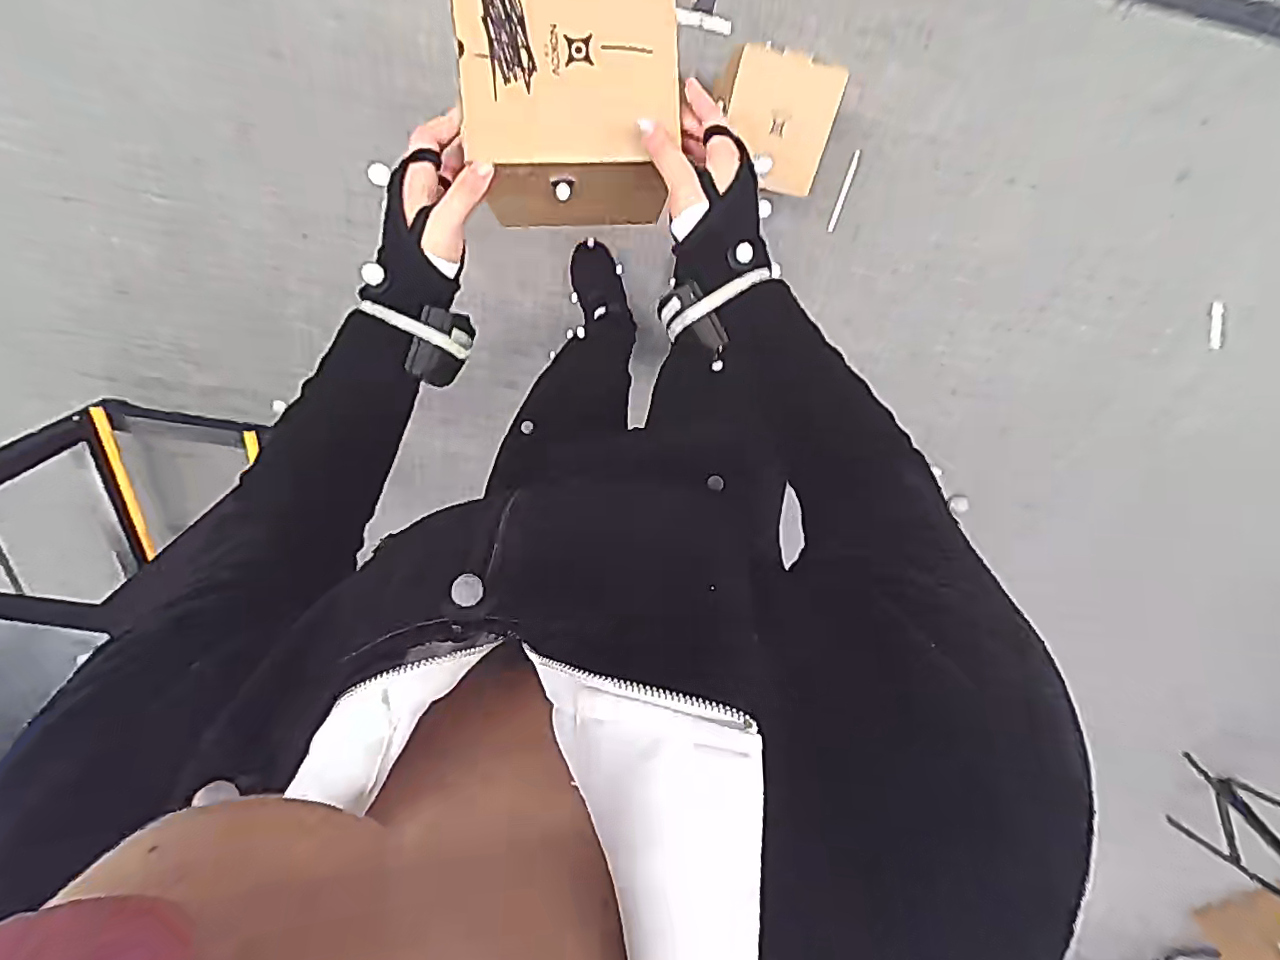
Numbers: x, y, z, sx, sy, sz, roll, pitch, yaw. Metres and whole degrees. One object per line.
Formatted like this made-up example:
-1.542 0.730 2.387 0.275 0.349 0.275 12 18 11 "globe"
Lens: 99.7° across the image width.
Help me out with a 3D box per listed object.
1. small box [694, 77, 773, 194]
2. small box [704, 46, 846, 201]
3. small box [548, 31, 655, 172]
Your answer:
0.213 -0.666 1.048 0.179 0.176 0.168 9 122 -6 "small box"
0.211 -0.589 0.905 0.168 0.176 0.179 11 123 -6 "small box"
-0.070 -0.707 1.023 0.168 0.176 0.179 12 122 -7 "small box"
